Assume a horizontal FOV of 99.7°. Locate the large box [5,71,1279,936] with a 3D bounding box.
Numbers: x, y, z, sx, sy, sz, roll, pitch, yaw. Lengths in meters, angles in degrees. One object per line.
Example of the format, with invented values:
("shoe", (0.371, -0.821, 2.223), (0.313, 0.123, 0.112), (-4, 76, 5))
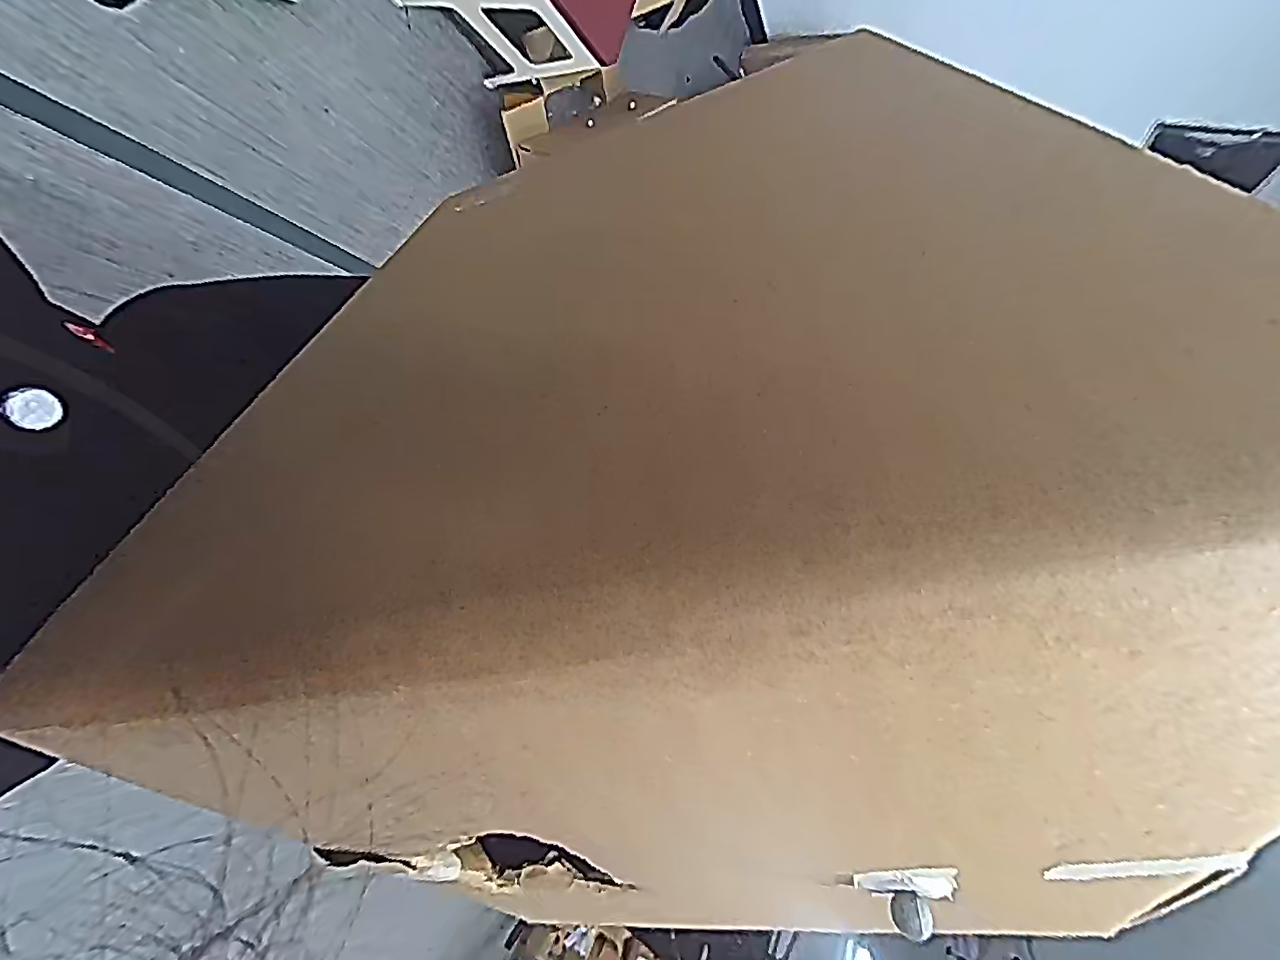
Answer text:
("large box", (0.028, 0.000, 0.342), (0.408, 0.320, 0.320), (-84, 158, -46))
